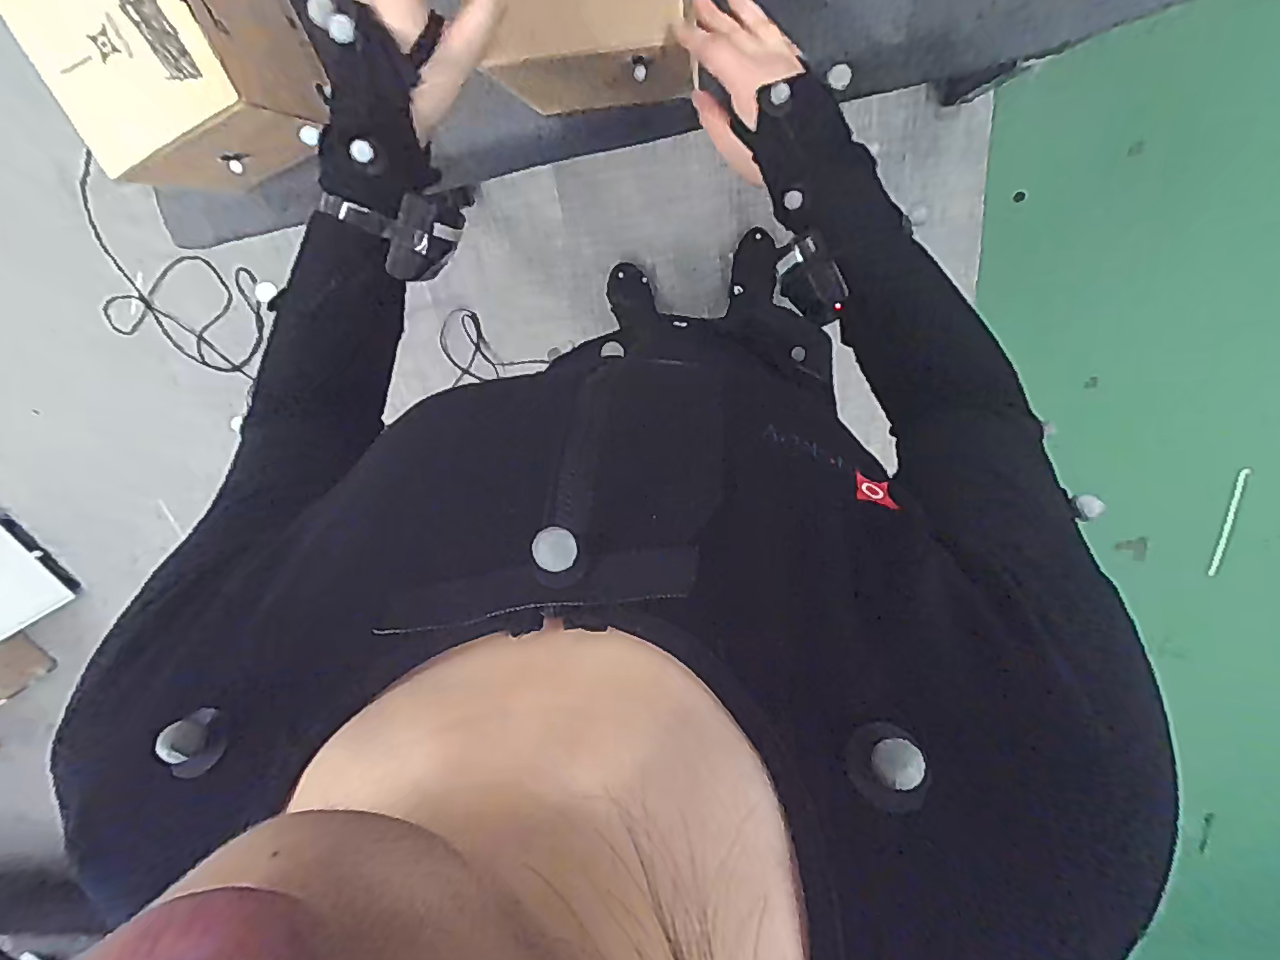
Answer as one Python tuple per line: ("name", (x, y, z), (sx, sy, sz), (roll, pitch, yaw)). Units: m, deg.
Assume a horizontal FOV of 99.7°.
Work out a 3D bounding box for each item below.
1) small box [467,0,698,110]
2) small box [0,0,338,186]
("small box", (-0.043, -0.445, 0.473), (0.179, 0.176, 0.168), (-1, 113, 9))
("small box", (-0.444, -0.416, 0.543), (0.179, 0.176, 0.168), (-16, 112, 16))
